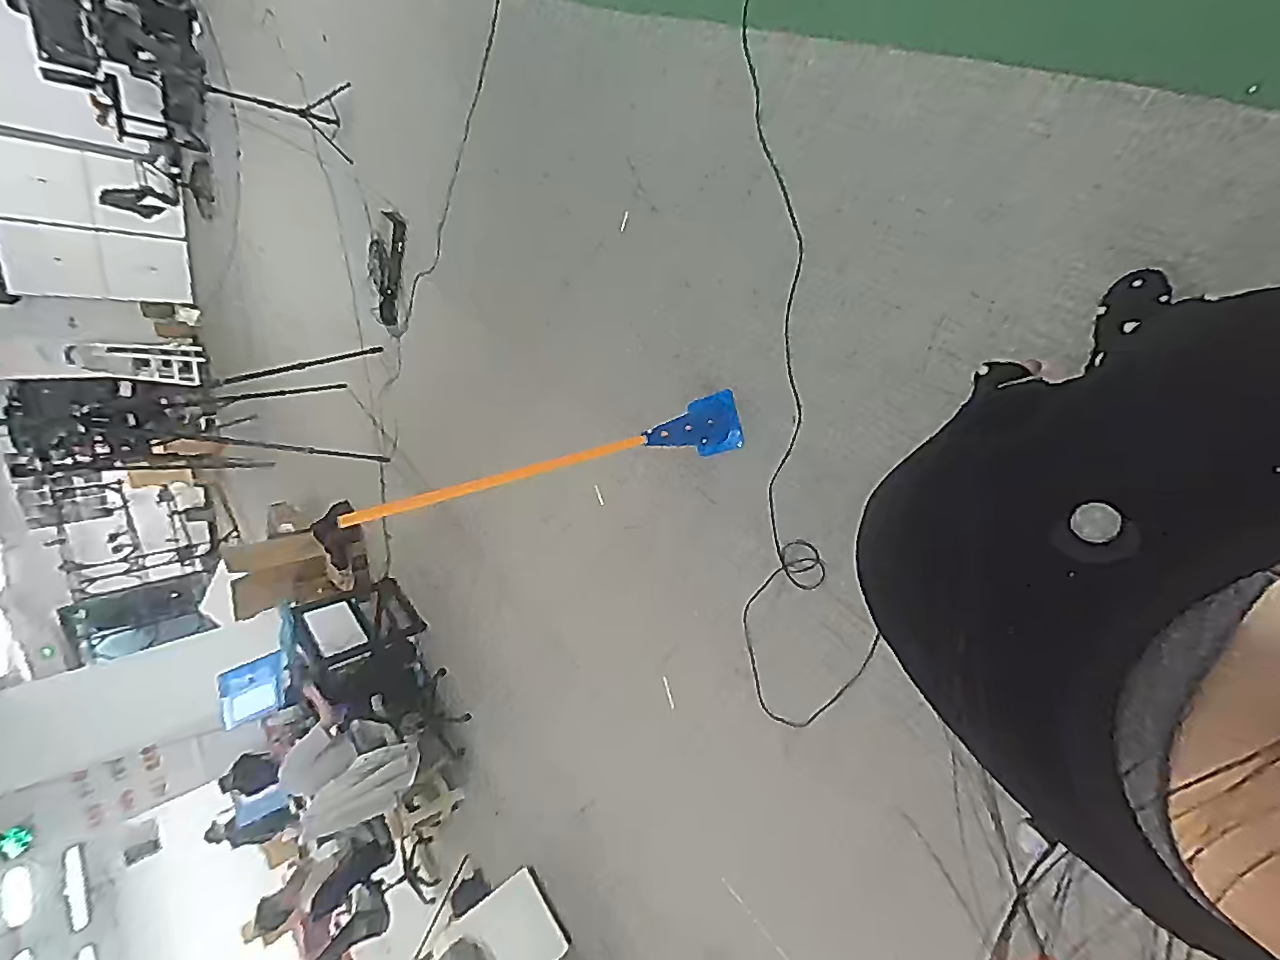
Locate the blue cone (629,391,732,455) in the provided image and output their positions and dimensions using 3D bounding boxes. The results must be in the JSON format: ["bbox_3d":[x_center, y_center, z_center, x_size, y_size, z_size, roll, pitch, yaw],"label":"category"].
[{"bbox_3d":[0.111,-0.156,1.737,0.193,0.380,0.192,-16,90,47],"label":"blue cone"}]
